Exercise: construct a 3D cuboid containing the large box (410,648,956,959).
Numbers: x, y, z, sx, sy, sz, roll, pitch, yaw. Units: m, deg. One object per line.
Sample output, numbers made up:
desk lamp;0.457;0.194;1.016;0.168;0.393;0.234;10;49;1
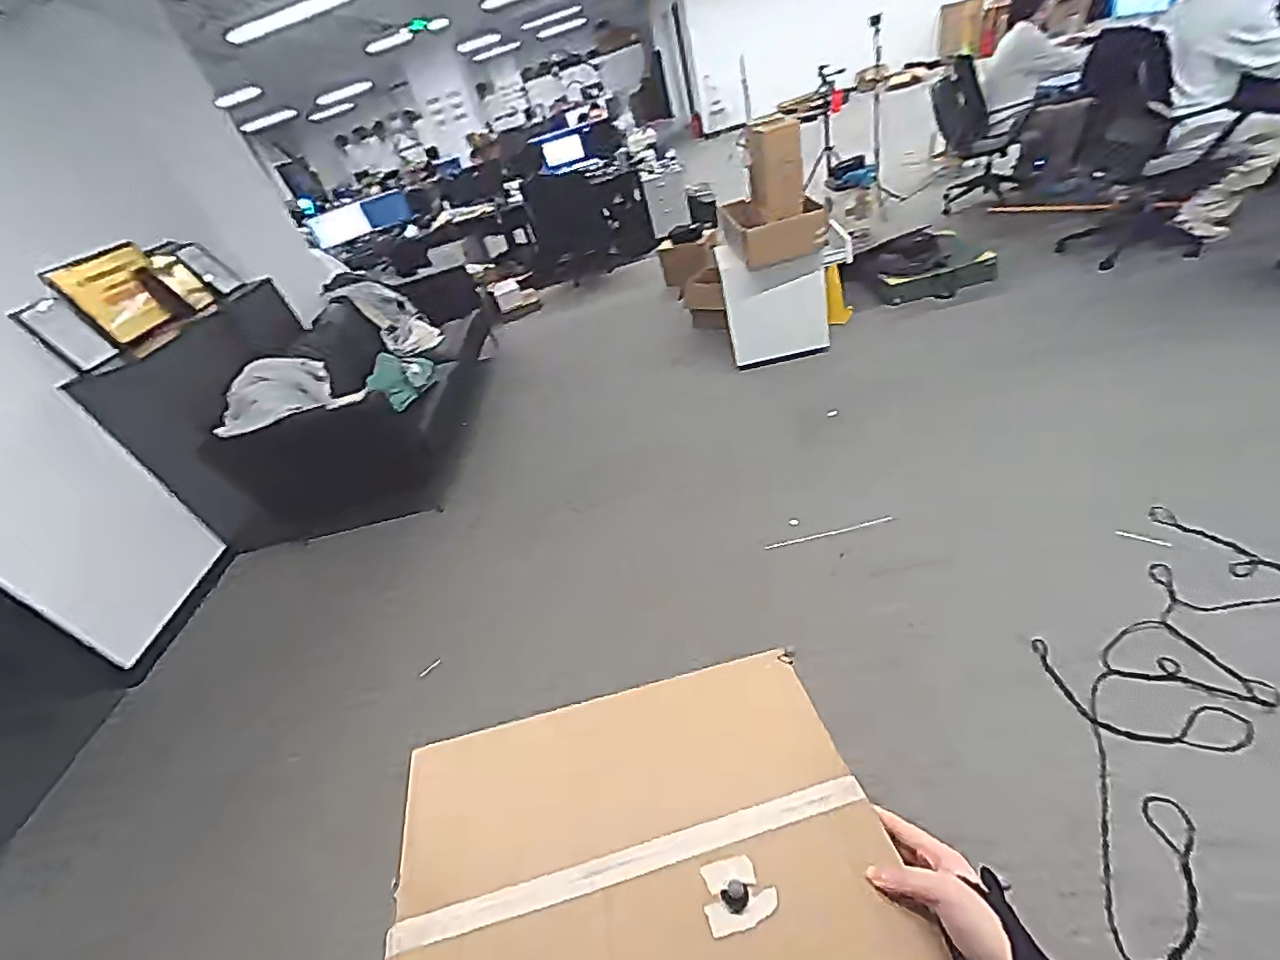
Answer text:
large box;0.016;0.436;0.556;0.408;0.320;0.320;-11;38;-9
